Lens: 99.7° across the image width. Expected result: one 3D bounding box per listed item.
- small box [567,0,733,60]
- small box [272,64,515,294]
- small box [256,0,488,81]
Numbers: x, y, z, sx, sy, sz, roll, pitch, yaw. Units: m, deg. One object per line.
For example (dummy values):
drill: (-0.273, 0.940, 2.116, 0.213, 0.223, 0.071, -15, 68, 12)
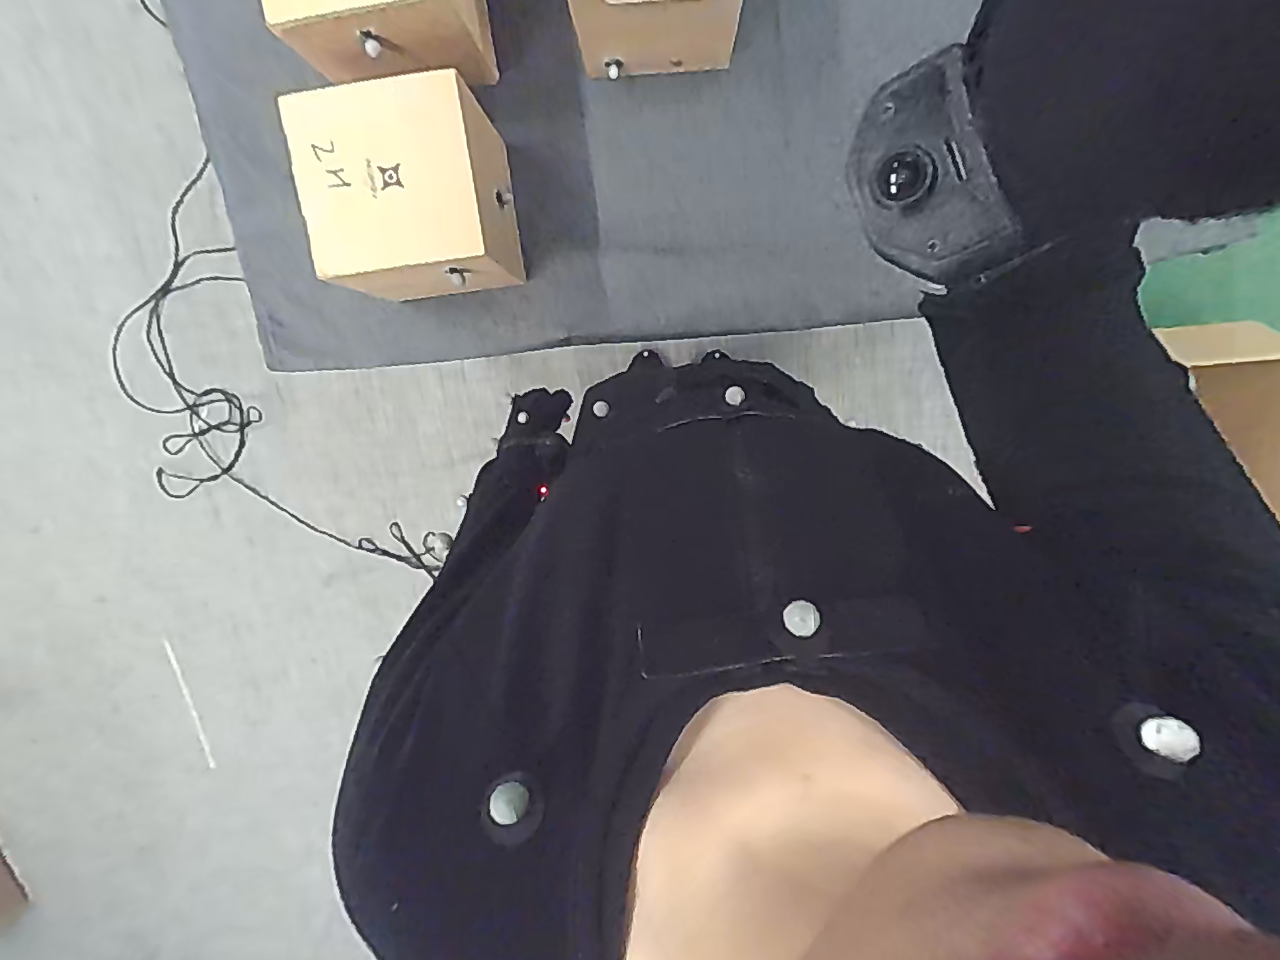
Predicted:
small box: (0.010, -0.545, 0.526, 0.168, 0.176, 0.179, -2, 102, 3)
small box: (-0.244, -0.307, 0.590, 0.179, 0.176, 0.168, -6, 101, 4)
small box: (-0.266, -0.526, 0.546, 0.179, 0.176, 0.168, -7, 103, 5)
